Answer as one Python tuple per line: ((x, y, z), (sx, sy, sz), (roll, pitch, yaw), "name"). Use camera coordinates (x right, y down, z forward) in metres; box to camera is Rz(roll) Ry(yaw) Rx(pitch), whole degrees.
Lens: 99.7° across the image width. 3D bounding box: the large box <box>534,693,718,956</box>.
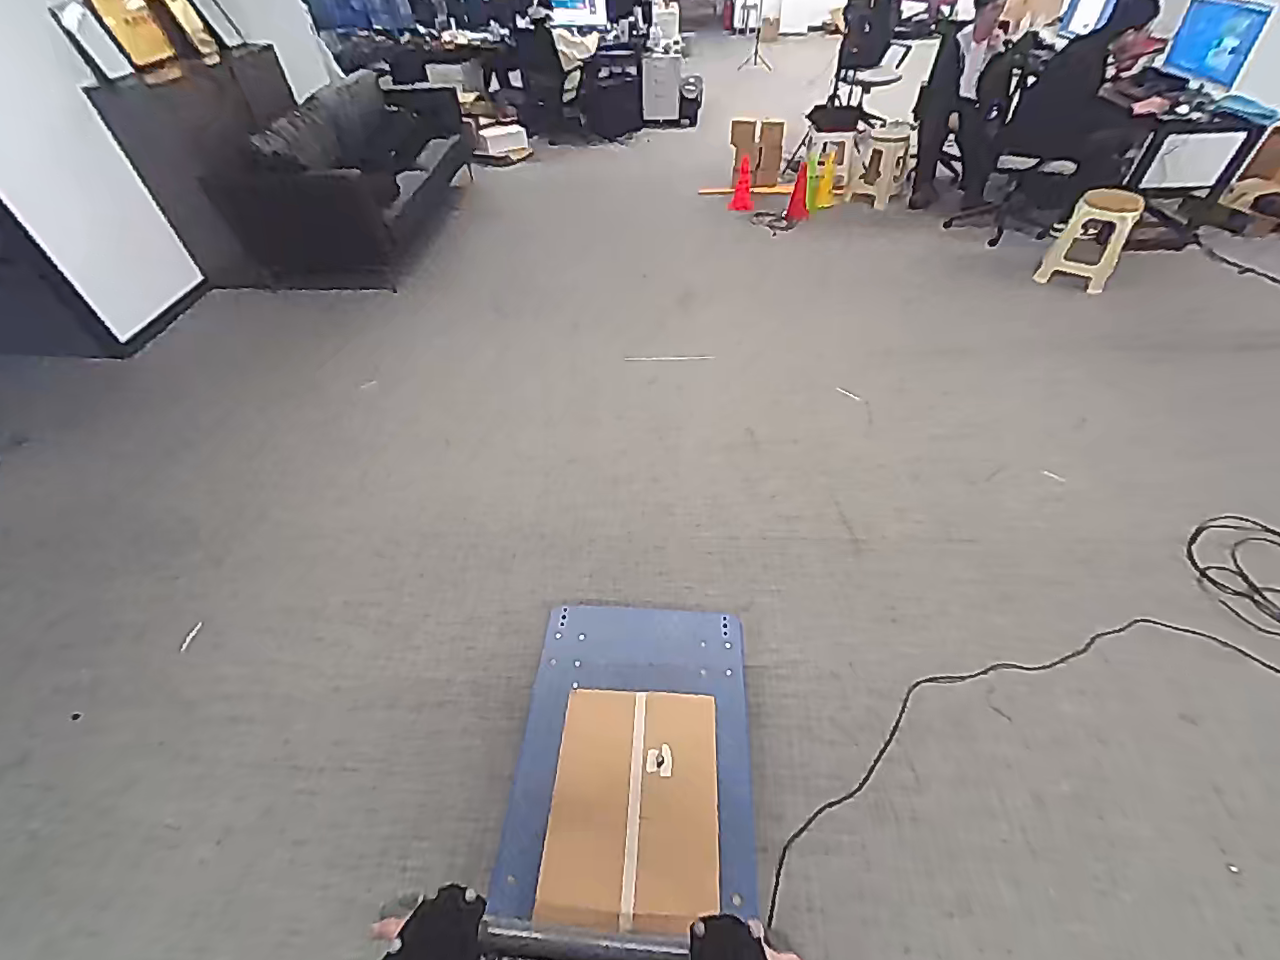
((-0.012, 0.711, 1.127), (0.320, 0.320, 0.408), (2, 45, 3), "large box")
